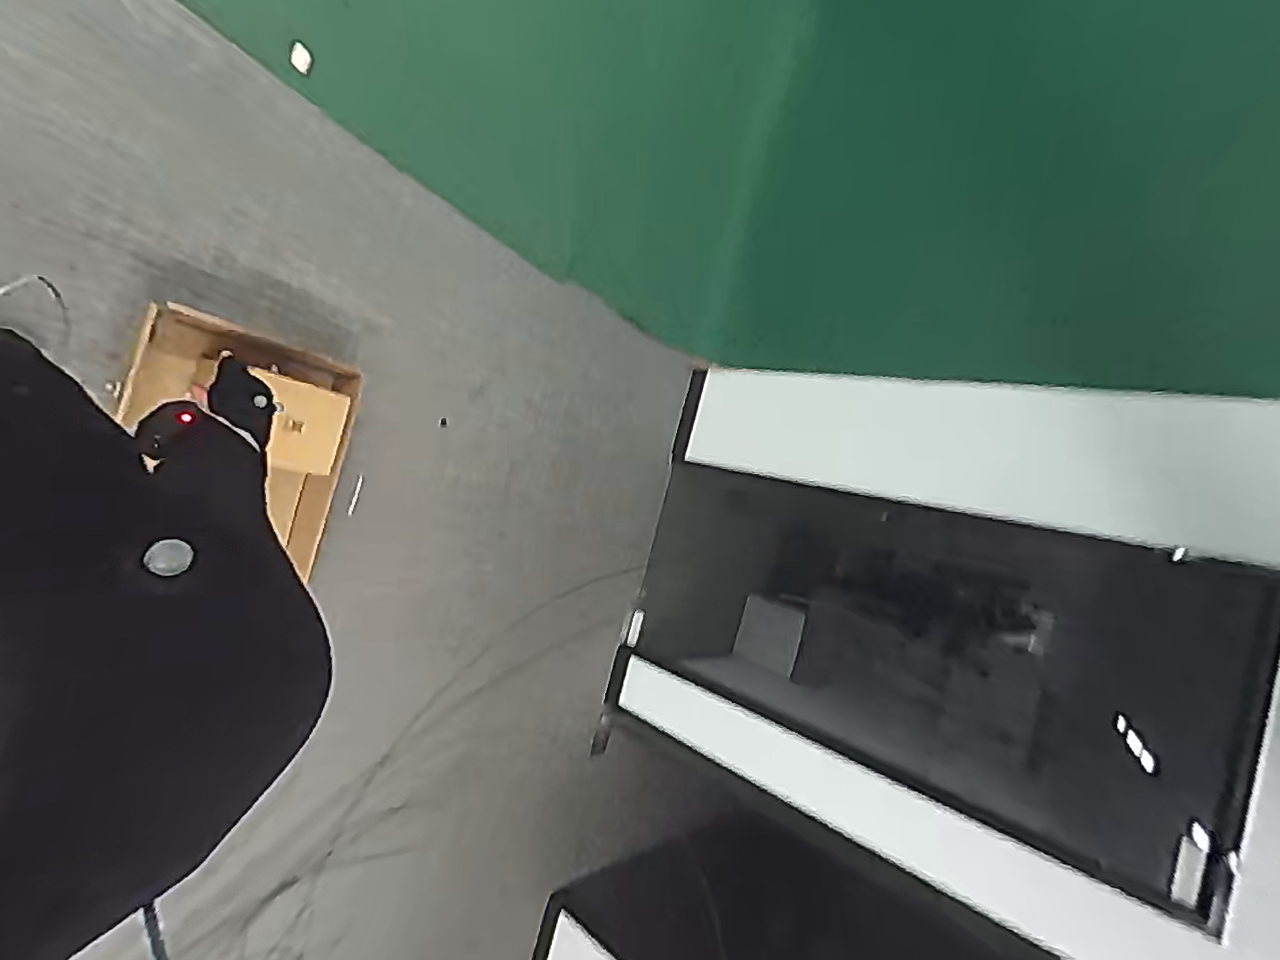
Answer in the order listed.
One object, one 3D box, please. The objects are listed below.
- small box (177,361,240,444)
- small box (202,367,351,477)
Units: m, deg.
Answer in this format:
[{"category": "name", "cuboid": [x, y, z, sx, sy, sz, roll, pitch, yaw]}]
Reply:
[{"category": "small box", "cuboid": [-0.845, -0.148, 1.162, 0.179, 0.176, 0.168, 21, 84, -54]}, {"category": "small box", "cuboid": [-0.717, -0.116, 1.068, 0.179, 0.176, 0.168, 18, 87, -54]}]
